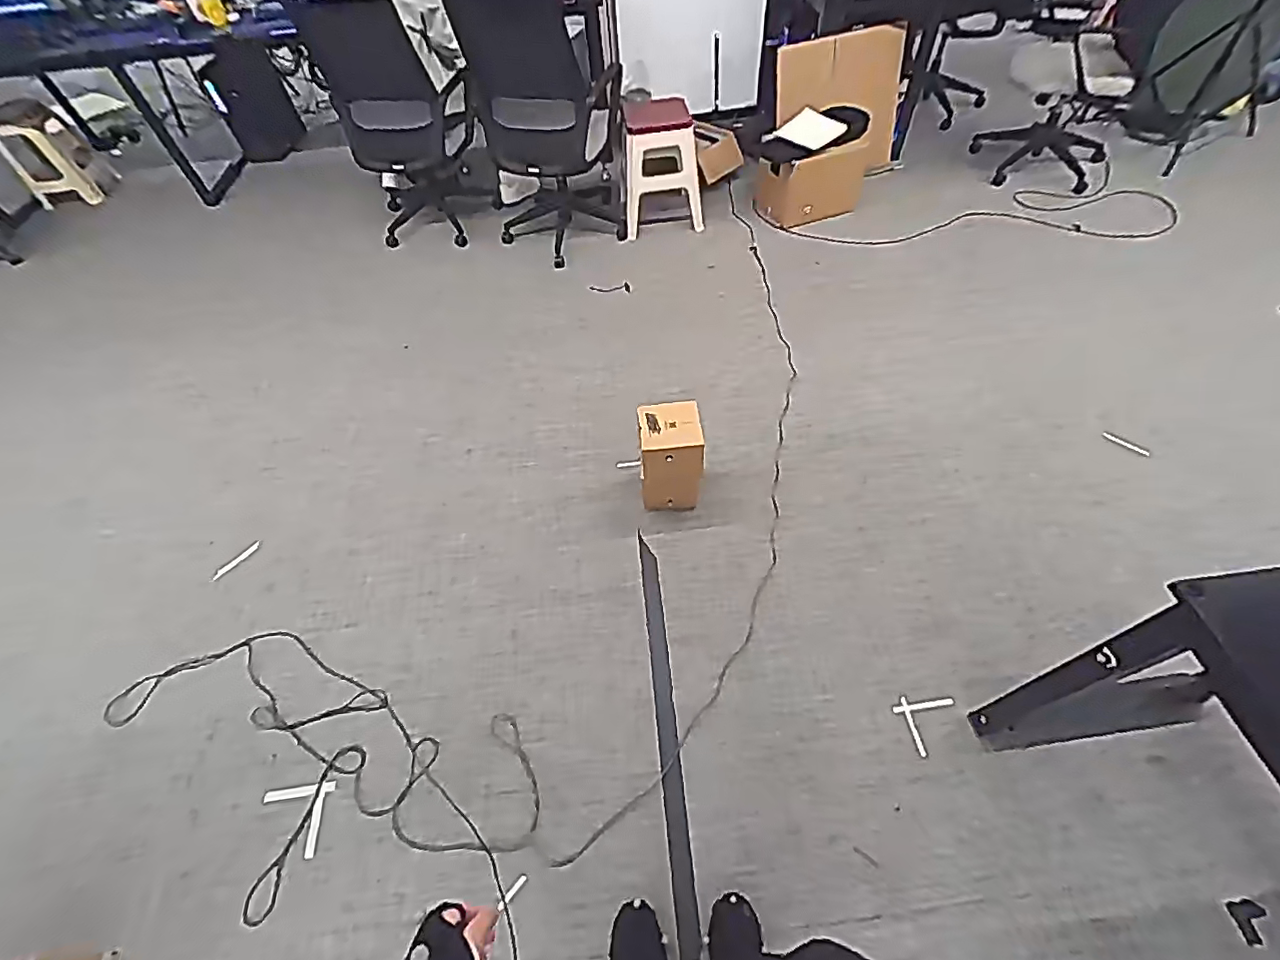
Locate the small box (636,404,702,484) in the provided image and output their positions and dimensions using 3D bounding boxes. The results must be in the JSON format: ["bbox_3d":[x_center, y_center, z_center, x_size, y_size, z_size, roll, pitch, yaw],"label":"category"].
[{"bbox_3d":[0.086,-0.101,1.589,0.179,0.176,0.168,-6,54,0],"label":"small box"}]

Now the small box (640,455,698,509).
[{"bbox_3d":[0.090,-0.017,1.733,0.179,0.176,0.168,-1,54,3],"label":"small box"}]
